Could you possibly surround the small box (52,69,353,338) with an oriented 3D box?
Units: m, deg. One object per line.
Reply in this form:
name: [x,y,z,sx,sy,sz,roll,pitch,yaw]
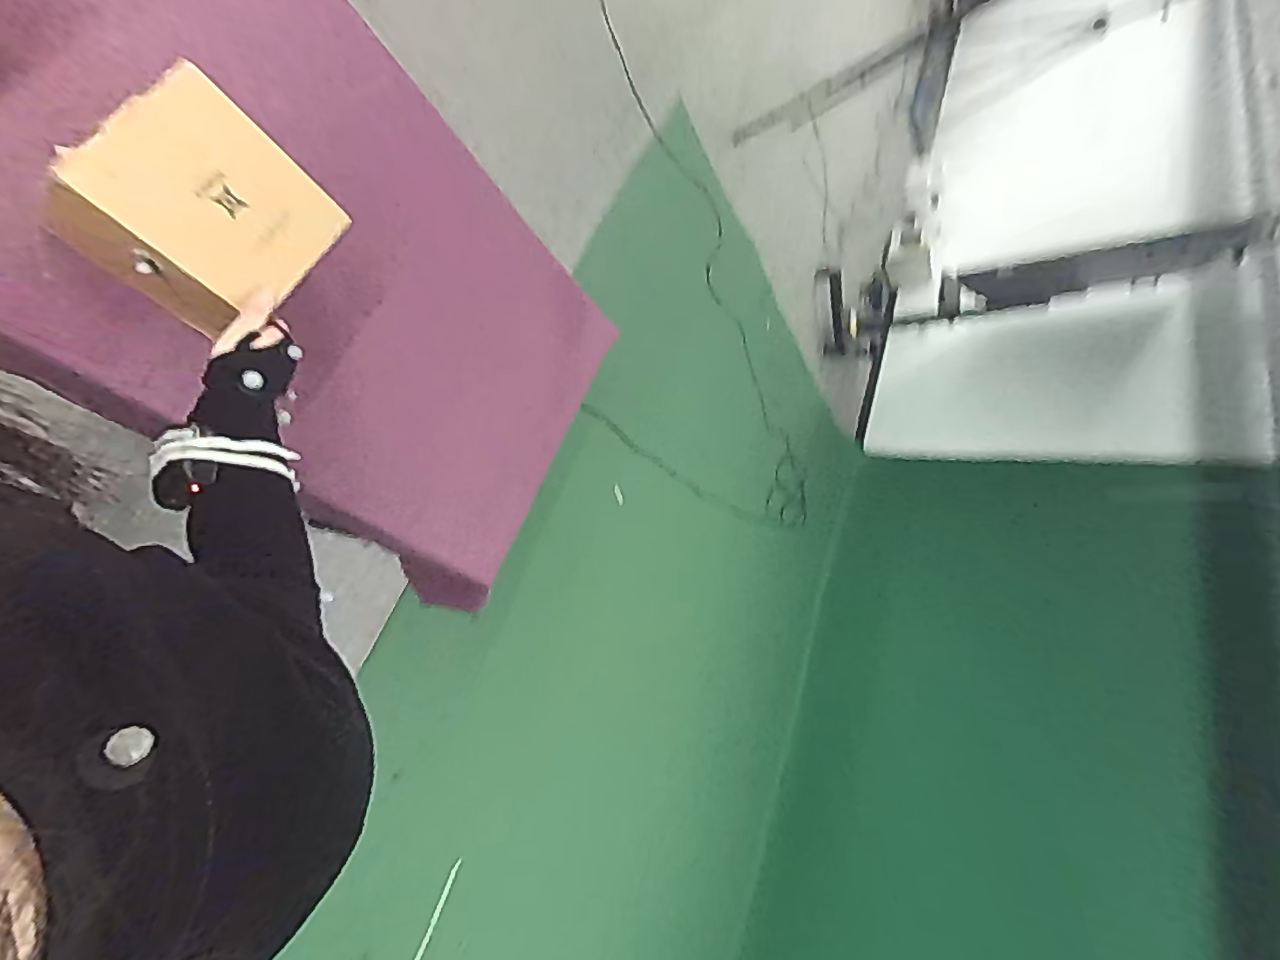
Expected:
small box: [-0.460,-0.272,0.574,0.179,0.176,0.168,47,59,-41]
